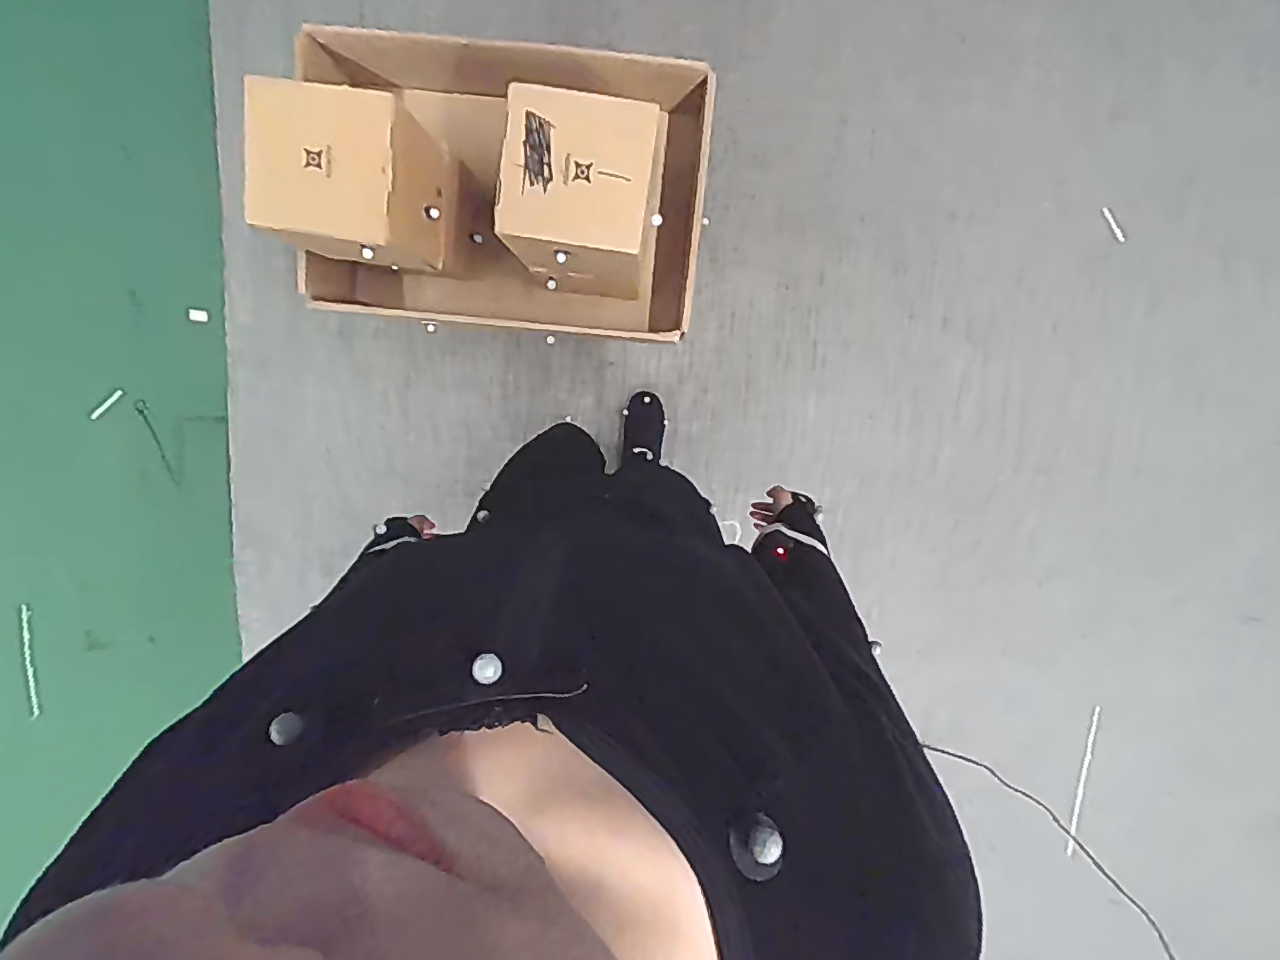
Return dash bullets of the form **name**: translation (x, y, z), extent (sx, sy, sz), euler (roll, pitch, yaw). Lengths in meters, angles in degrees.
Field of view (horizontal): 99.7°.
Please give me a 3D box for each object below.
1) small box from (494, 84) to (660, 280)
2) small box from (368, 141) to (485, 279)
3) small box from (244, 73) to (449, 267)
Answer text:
- **small box**: translation (-0.073, -0.369, 0.703), extent (0.179, 0.176, 0.168), euler (9, 99, 0)
- **small box**: translation (-0.367, -0.431, 0.870), extent (0.179, 0.176, 0.168), euler (8, 100, -1)
- **small box**: translation (-0.375, -0.390, 0.713), extent (0.179, 0.176, 0.168), euler (8, 100, -1)
